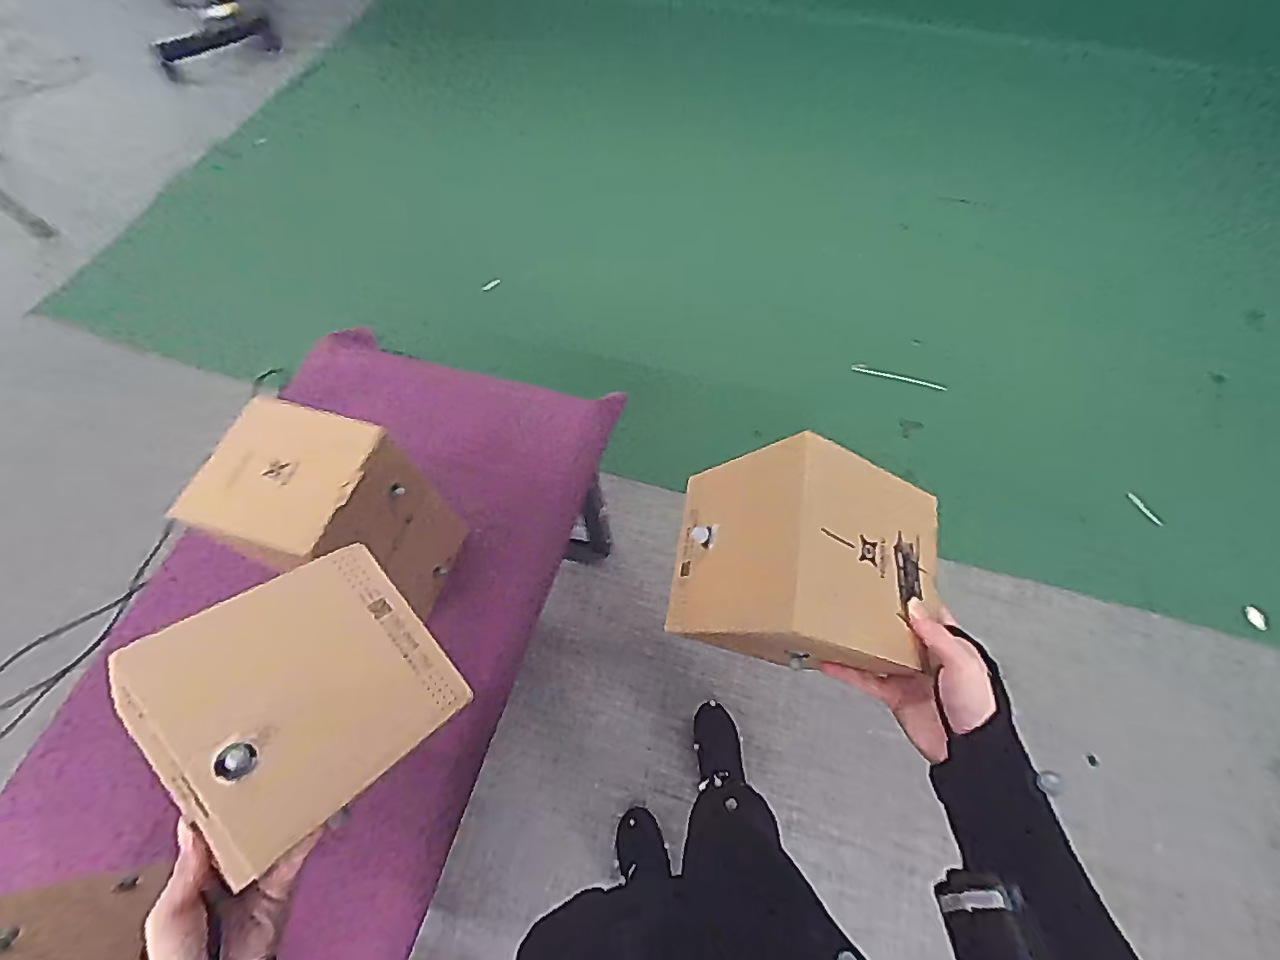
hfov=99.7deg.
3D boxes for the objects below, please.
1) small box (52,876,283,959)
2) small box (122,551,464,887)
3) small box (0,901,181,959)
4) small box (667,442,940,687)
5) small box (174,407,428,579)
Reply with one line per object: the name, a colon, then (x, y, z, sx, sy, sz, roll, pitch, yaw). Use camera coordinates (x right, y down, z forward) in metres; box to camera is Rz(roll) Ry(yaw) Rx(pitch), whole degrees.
small box: (-0.550, 0.559, 0.589, 0.179, 0.176, 0.168, 13, 63, 9)
small box: (-0.275, 0.189, 0.446, 0.168, 0.179, 0.176, 51, 41, 8)
small box: (-0.558, 0.480, 0.447, 0.179, 0.176, 0.168, 12, 62, 8)
small box: (0.152, 0.089, 0.513, 0.179, 0.176, 0.168, 22, 65, -23)
small box: (-0.401, 0.037, 0.680, 0.179, 0.176, 0.168, 13, 63, 9)
